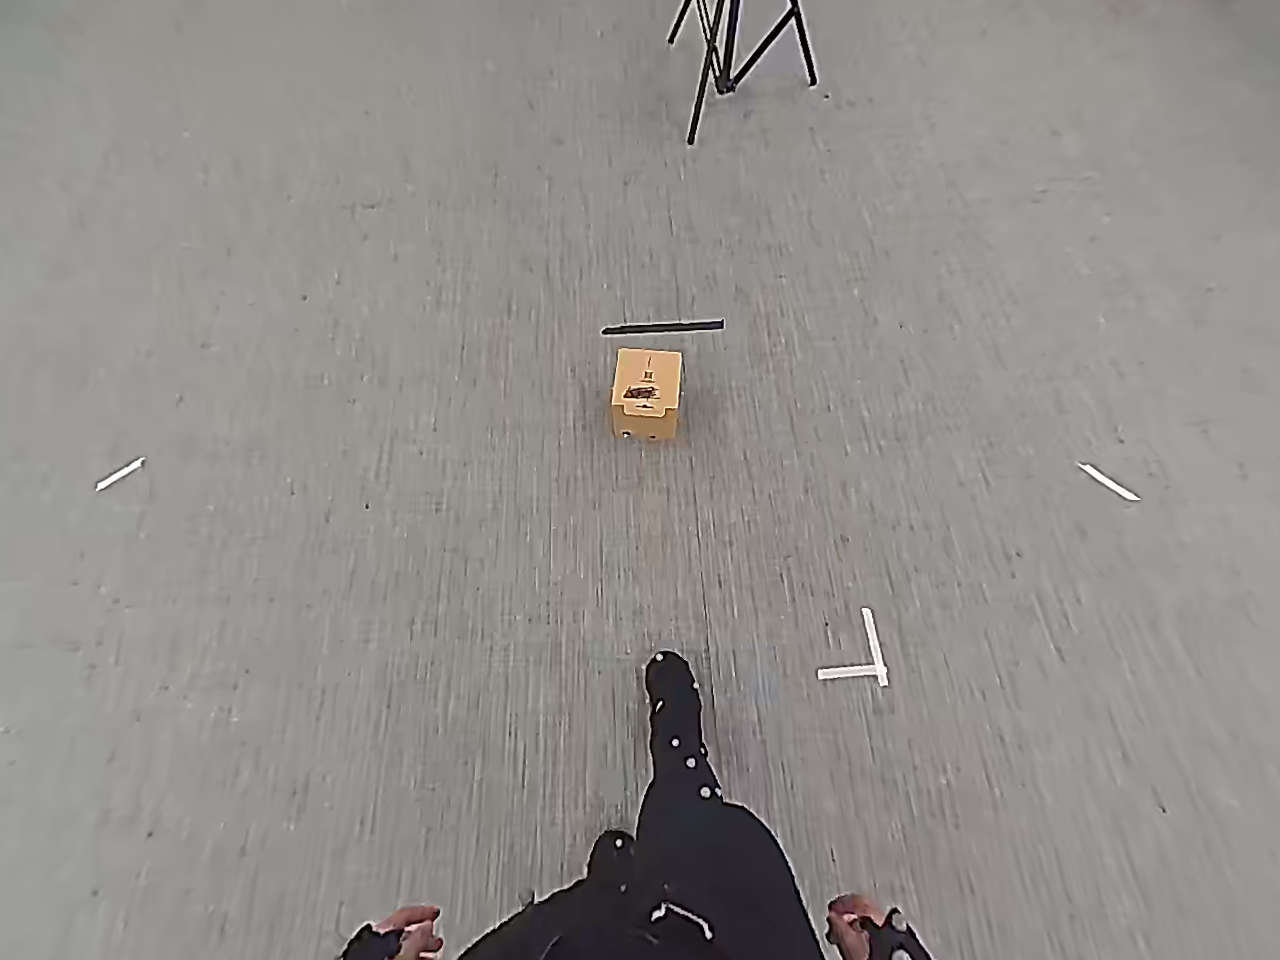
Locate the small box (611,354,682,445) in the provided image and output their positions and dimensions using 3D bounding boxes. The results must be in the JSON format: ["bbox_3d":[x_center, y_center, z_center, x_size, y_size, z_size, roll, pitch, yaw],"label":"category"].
[{"bbox_3d":[0.020,-0.207,1.429,0.168,0.176,0.179,5,66,3],"label":"small box"}]
